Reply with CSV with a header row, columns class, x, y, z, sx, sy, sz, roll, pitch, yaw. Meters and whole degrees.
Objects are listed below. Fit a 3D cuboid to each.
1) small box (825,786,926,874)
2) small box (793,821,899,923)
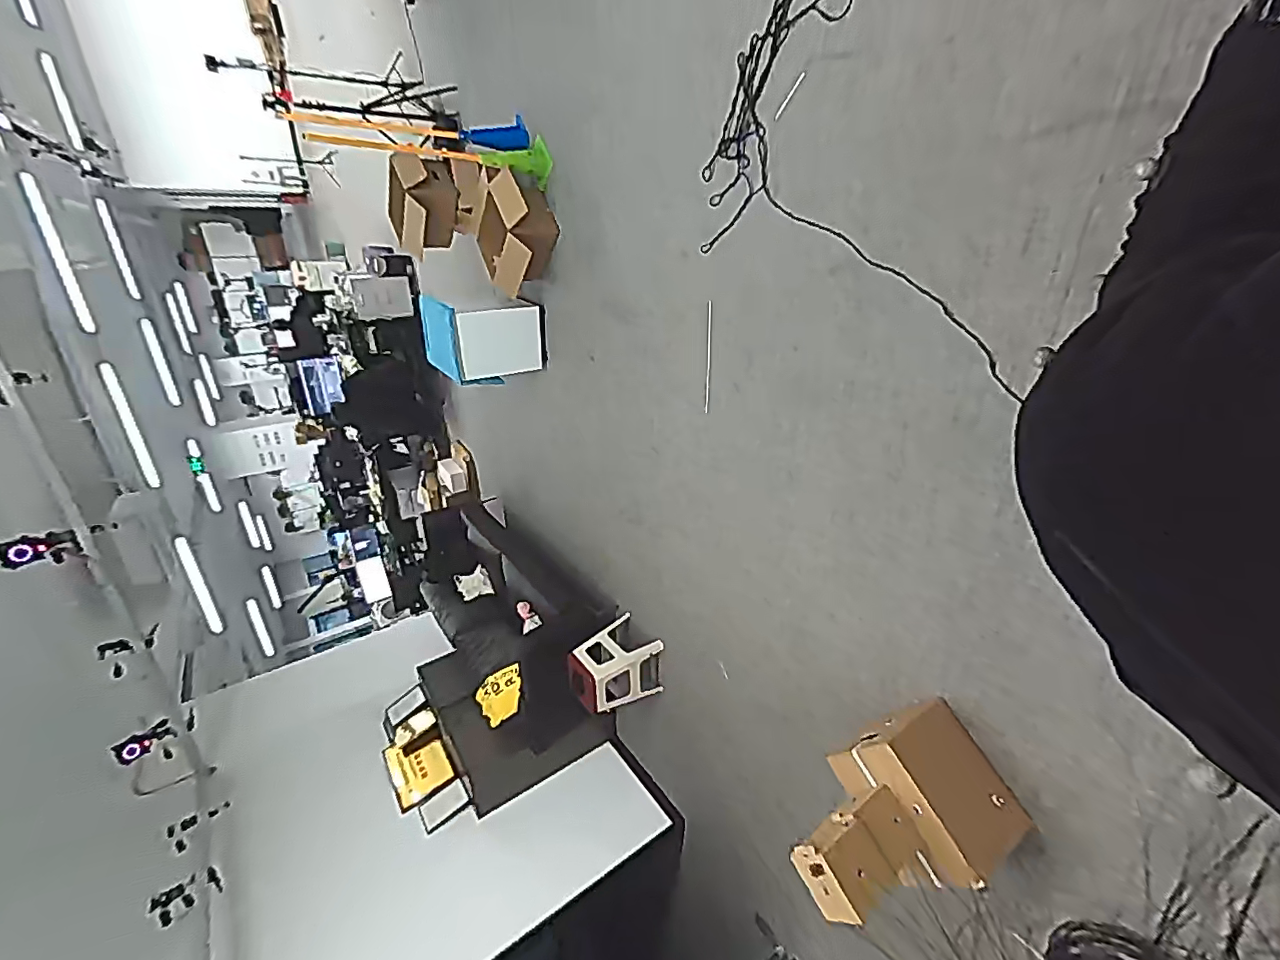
class,x,y,z,sx,sy,sz,roll,pitch,yaw
small box,0.697,1.039,1.606,0.179,0.176,0.168,57,146,26
small box,0.572,1.078,1.504,0.179,0.176,0.168,58,146,21
